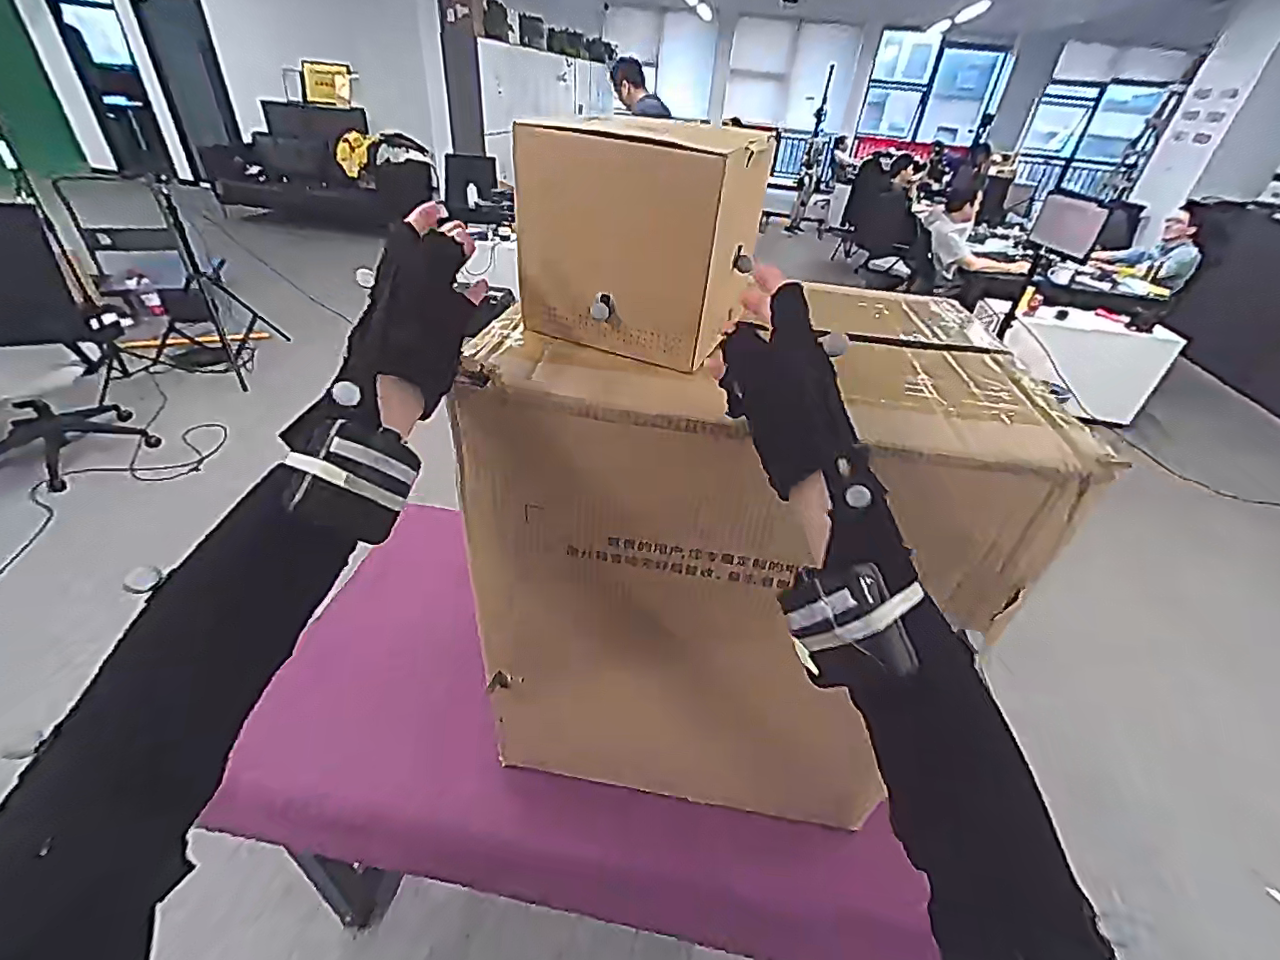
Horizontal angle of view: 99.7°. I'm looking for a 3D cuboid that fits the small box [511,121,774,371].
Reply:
[{"bbox_3d":[0.004,-0.217,0.499,0.179,0.176,0.168,19,39,16],"label":"small box"}]
